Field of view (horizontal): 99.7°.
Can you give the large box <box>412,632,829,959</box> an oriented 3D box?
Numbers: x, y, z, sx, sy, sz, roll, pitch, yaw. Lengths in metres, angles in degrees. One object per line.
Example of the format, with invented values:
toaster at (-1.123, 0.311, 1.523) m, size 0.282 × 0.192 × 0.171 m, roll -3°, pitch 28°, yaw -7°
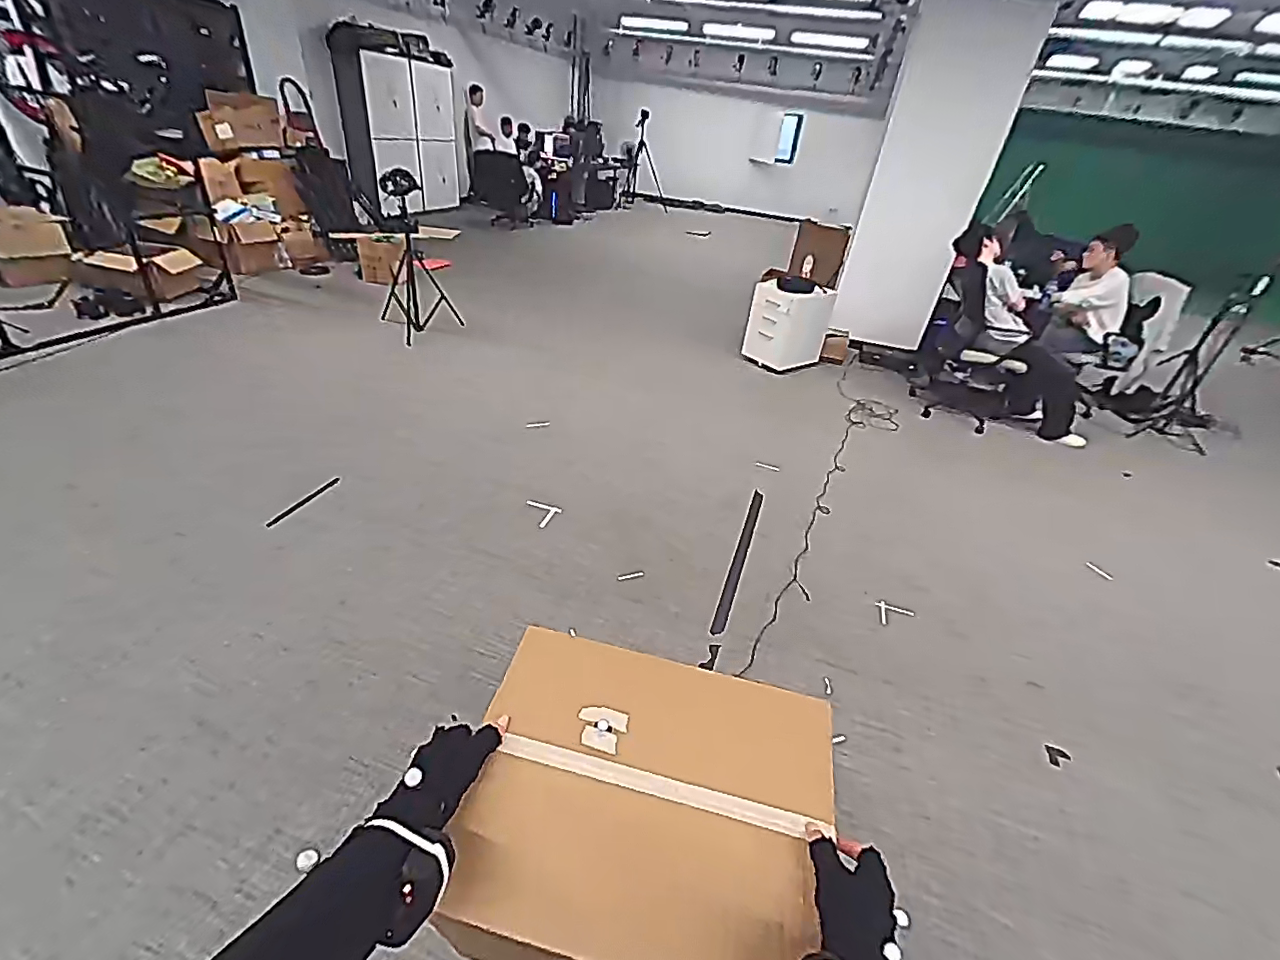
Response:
large box at (0.000, 0.451, 0.701) m, size 0.408 × 0.320 × 0.320 m, roll 11°, pitch 41°, yaw 8°
